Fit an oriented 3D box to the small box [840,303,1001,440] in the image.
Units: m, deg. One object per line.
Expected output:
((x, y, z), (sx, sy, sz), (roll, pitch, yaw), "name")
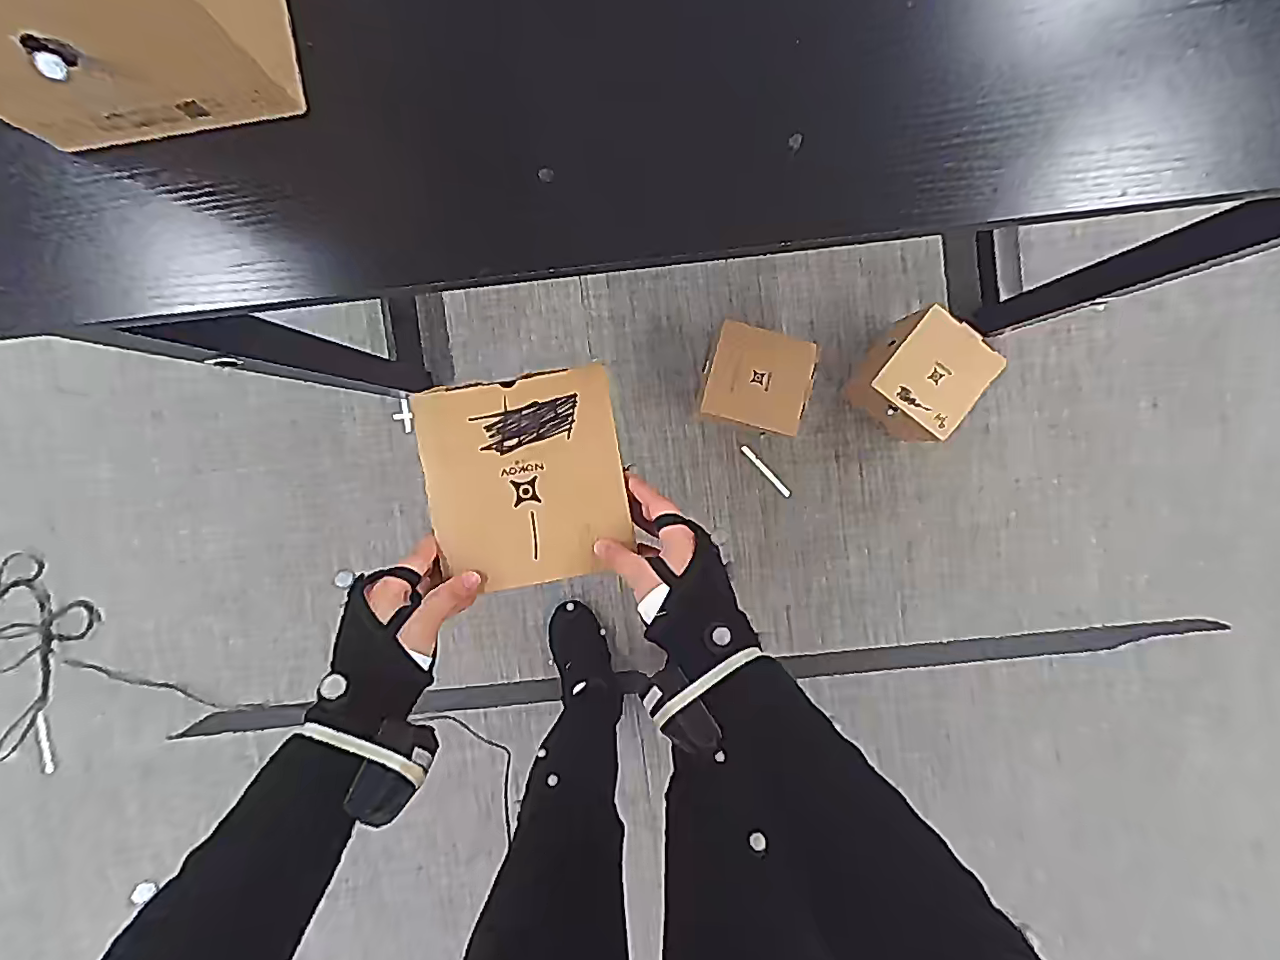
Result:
((0.505, -0.191, 1.005), (0.168, 0.176, 0.179), (37, 94, -2), "small box")

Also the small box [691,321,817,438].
((0.202, -0.179, 1.011), (0.179, 0.176, 0.168), (14, 93, 0), "small box")

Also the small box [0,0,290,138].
((-0.316, -0.305, 0.273), (0.168, 0.176, 0.179), (-9, 93, 0), "small box")

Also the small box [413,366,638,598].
((-0.099, 0.000, 0.534), (0.168, 0.176, 0.179), (-10, 93, -2), "small box")
